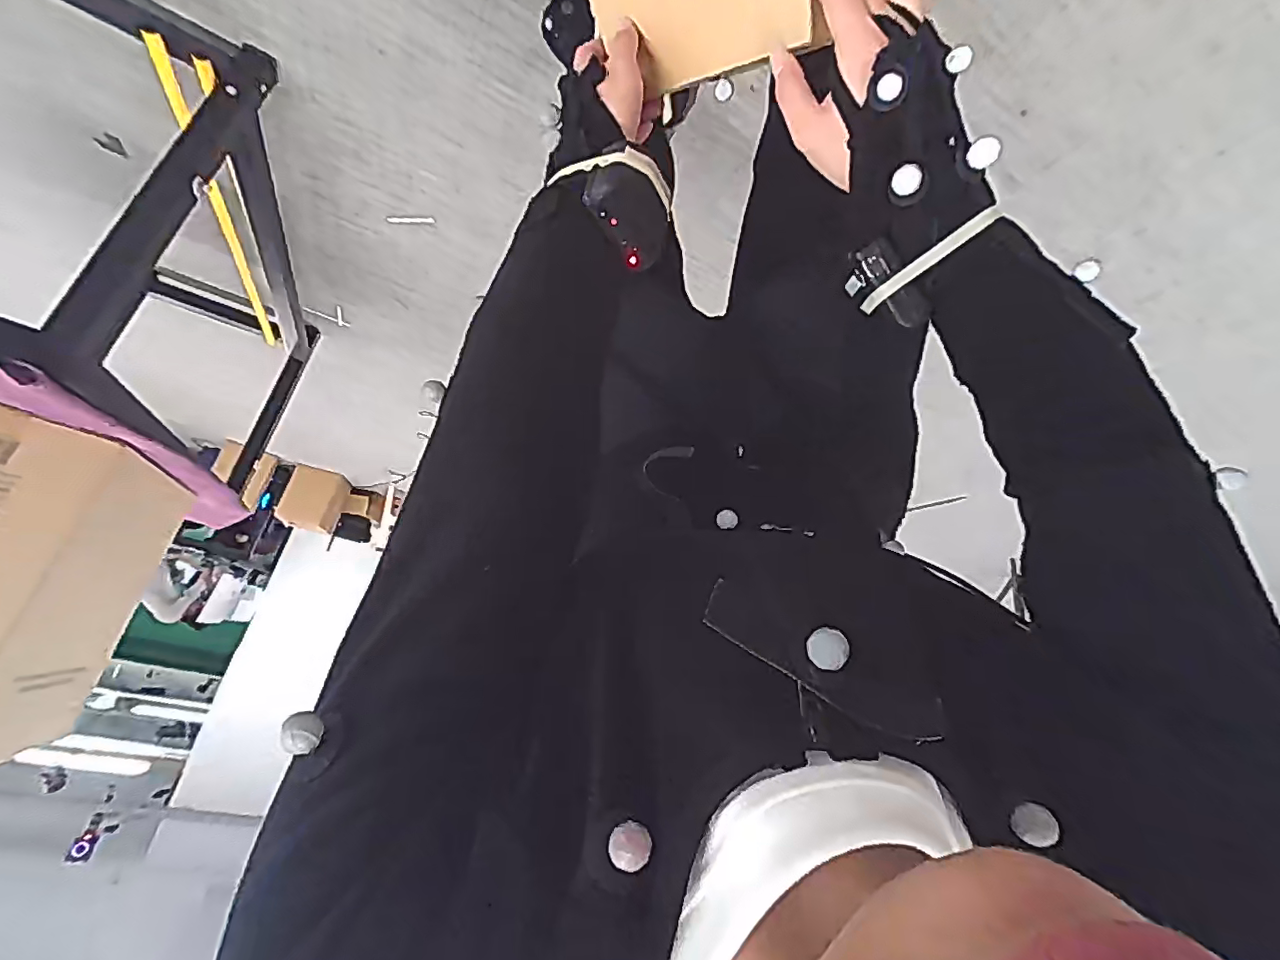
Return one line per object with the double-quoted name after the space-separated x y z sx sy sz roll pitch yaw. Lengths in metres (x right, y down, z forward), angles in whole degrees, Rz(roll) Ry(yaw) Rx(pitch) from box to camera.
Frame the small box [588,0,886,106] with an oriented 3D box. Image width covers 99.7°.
0.072 -0.398 0.384 0.179 0.176 0.168 16 137 41 "small box"
